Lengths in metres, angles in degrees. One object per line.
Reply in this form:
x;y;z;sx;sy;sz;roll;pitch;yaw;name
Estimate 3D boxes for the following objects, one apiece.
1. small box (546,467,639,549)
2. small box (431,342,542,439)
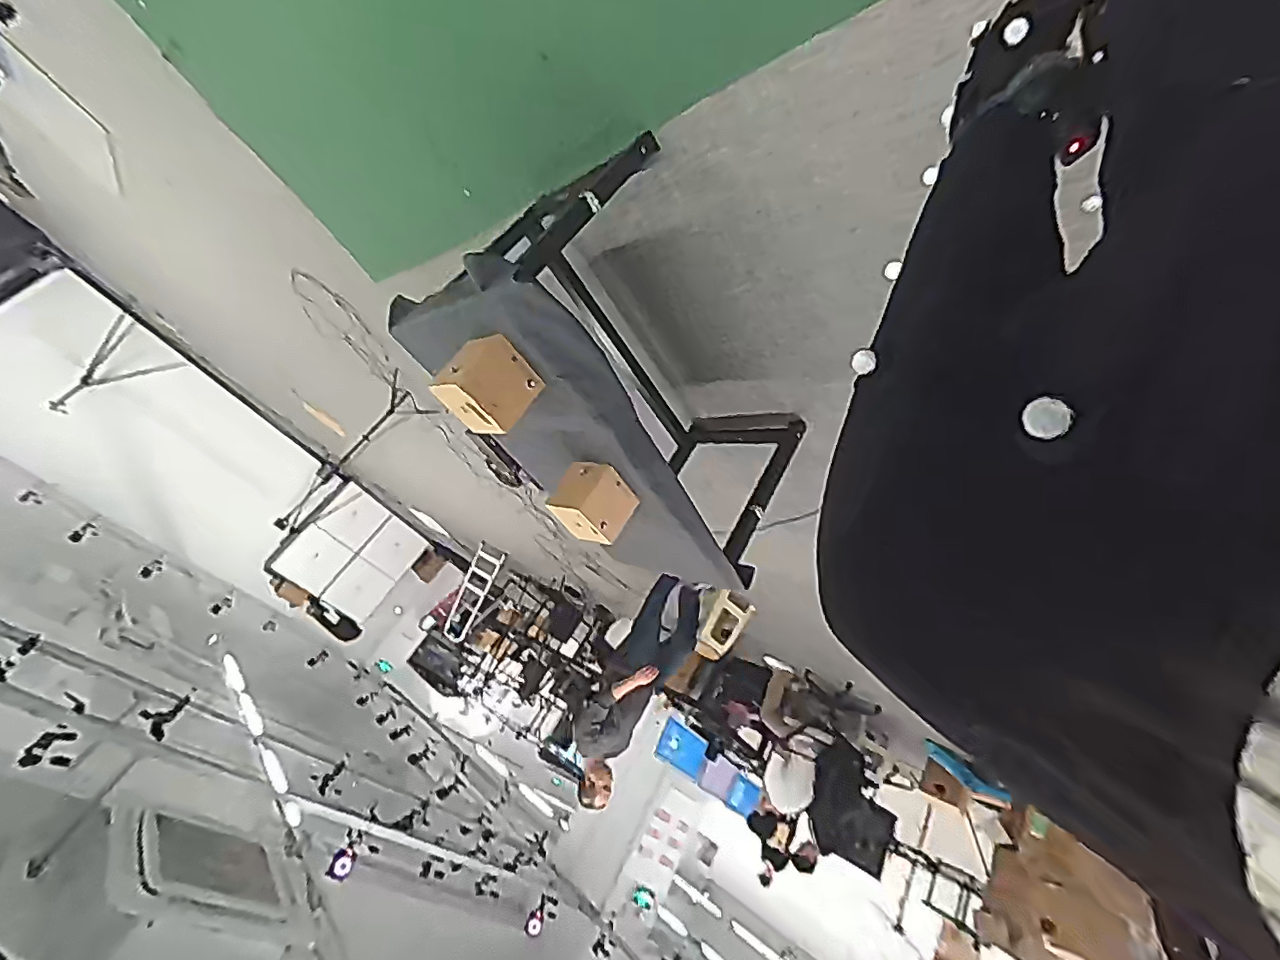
-0.136;0.077;1.589;0.179;0.176;0.168;6;144;47;small box
-0.368;-0.219;1.324;0.179;0.176;0.168;7;145;47;small box
